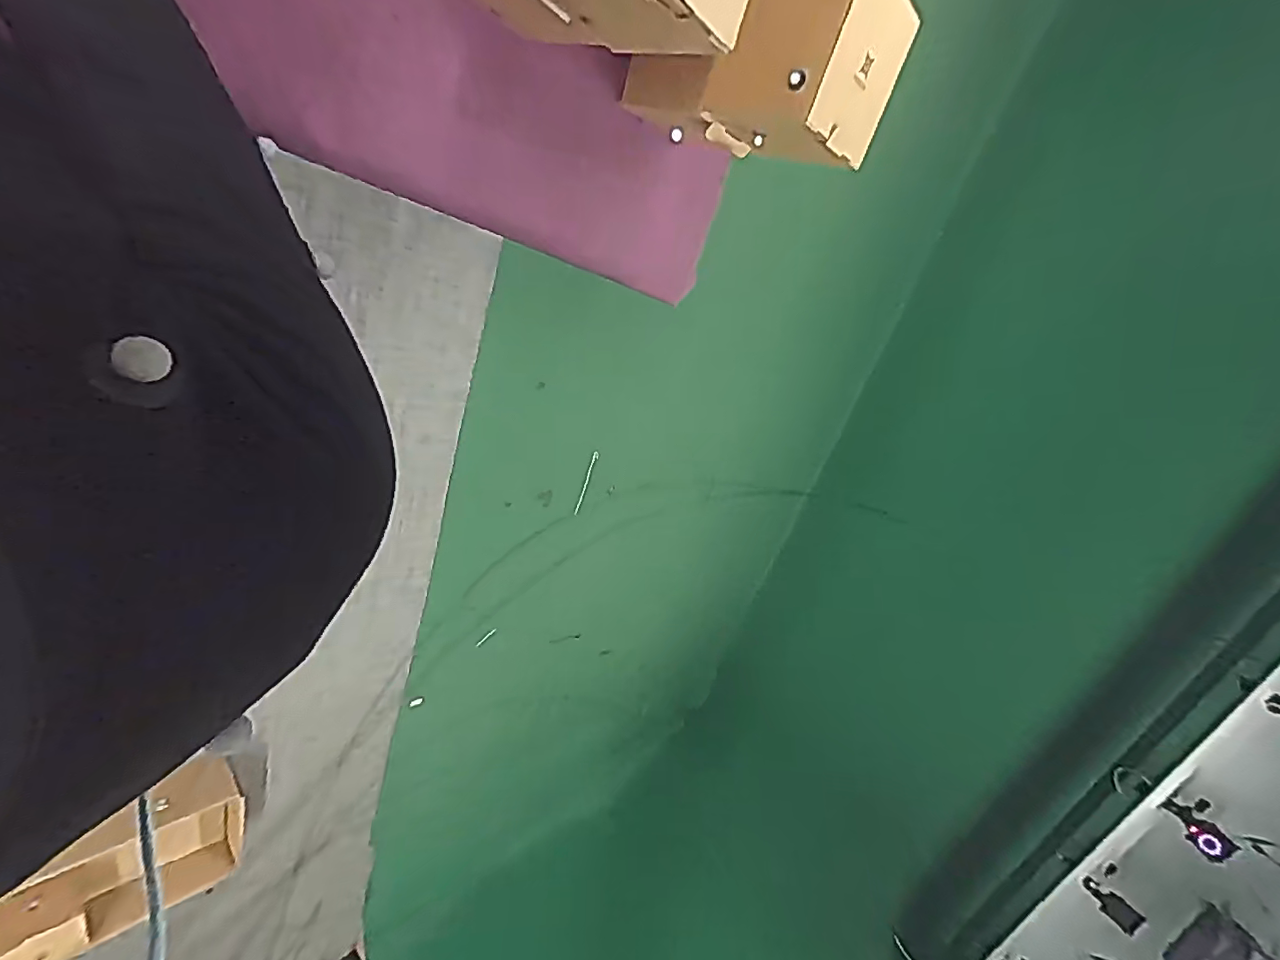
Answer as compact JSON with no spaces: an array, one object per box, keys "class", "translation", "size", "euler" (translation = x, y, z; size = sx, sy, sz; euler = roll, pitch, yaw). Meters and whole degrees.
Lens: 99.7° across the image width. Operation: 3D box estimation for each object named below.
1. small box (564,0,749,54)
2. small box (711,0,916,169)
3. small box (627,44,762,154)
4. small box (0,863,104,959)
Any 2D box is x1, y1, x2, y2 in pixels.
[{"class":"small box","translation":[0.003,-0.510,0.467],"size":[0.168,0.176,0.179],"euler":[-4,120,-49]},{"class":"small box","translation":[0.219,-0.540,0.706],"size":[0.168,0.176,0.179],"euler":[-8,125,-48]},{"class":"small box","translation":[0.105,-0.614,0.797],"size":[0.168,0.176,0.179],"euler":[-8,125,-47]},{"class":"small box","translation":[-1.612,1.202,1.481],"size":[0.168,0.176,0.179],"euler":[-15,130,-47]}]
